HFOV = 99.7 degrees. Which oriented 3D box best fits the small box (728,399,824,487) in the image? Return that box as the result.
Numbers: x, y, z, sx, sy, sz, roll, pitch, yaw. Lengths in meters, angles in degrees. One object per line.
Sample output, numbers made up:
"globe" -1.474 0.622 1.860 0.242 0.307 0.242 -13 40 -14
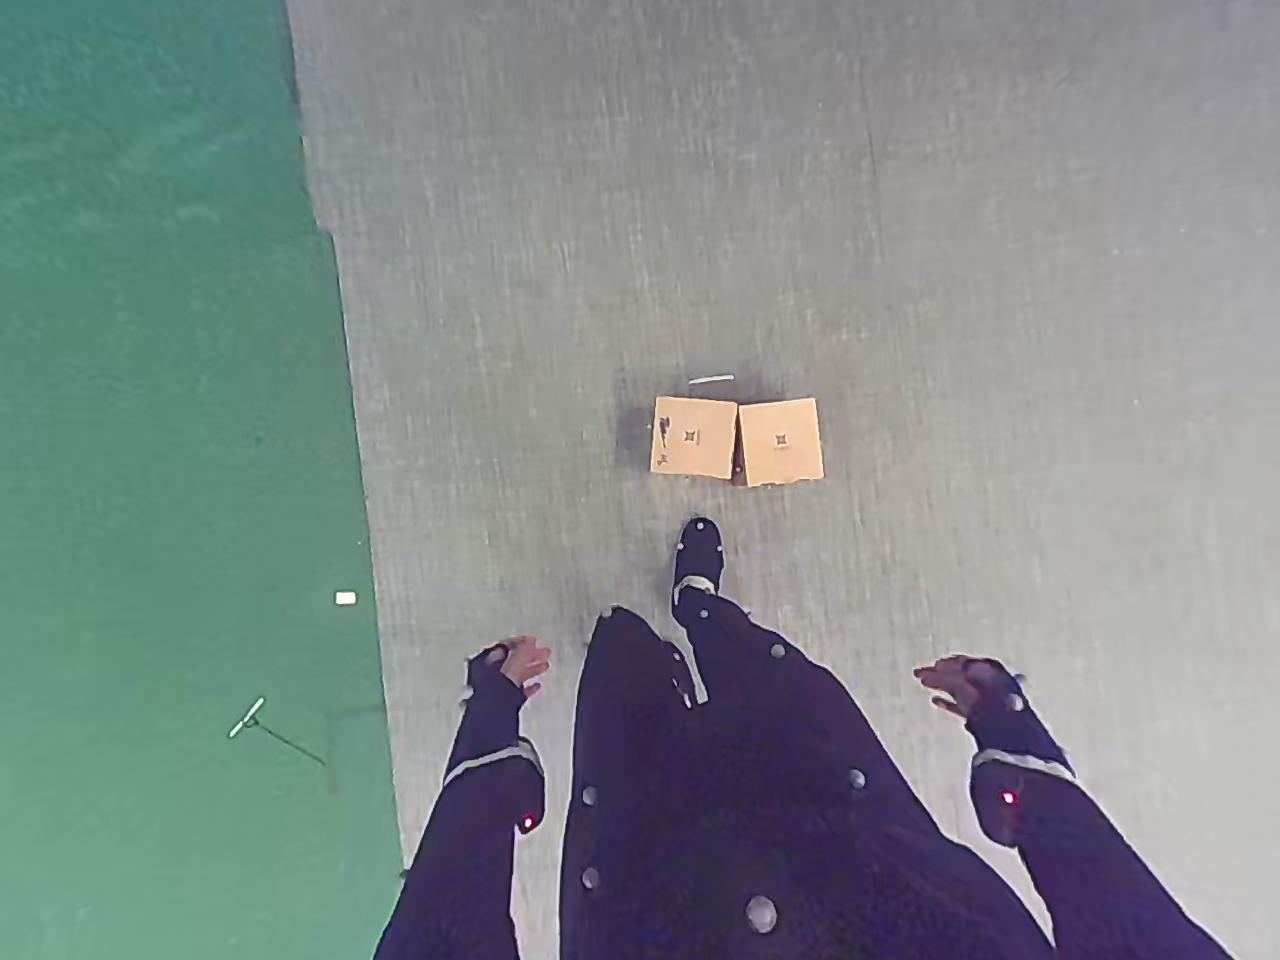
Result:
"small box" 0.300 -0.077 1.224 0.168 0.176 0.179 -7 90 1
